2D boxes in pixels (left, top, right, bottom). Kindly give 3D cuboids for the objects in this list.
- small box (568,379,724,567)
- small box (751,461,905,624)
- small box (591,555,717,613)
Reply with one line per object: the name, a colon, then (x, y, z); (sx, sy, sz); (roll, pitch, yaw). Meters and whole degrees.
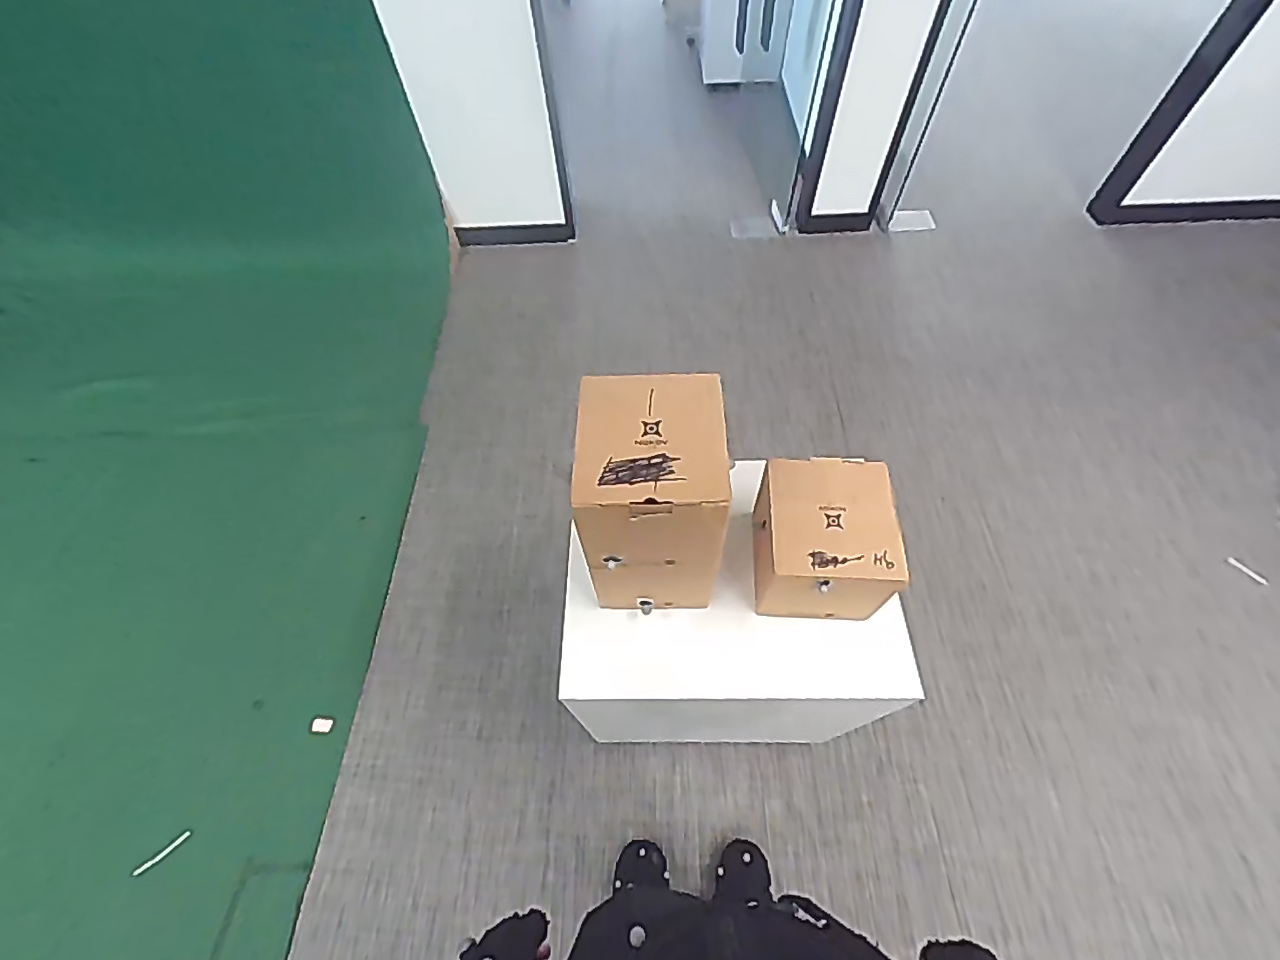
small box: (0.013, -0.001, 0.663); (0.168, 0.176, 0.179); (-1, 57, 3)
small box: (0.256, 0.093, 0.784); (0.168, 0.176, 0.179); (2, 58, 4)
small box: (0.020, 0.086, 0.803); (0.168, 0.176, 0.179); (-3, 60, 2)
